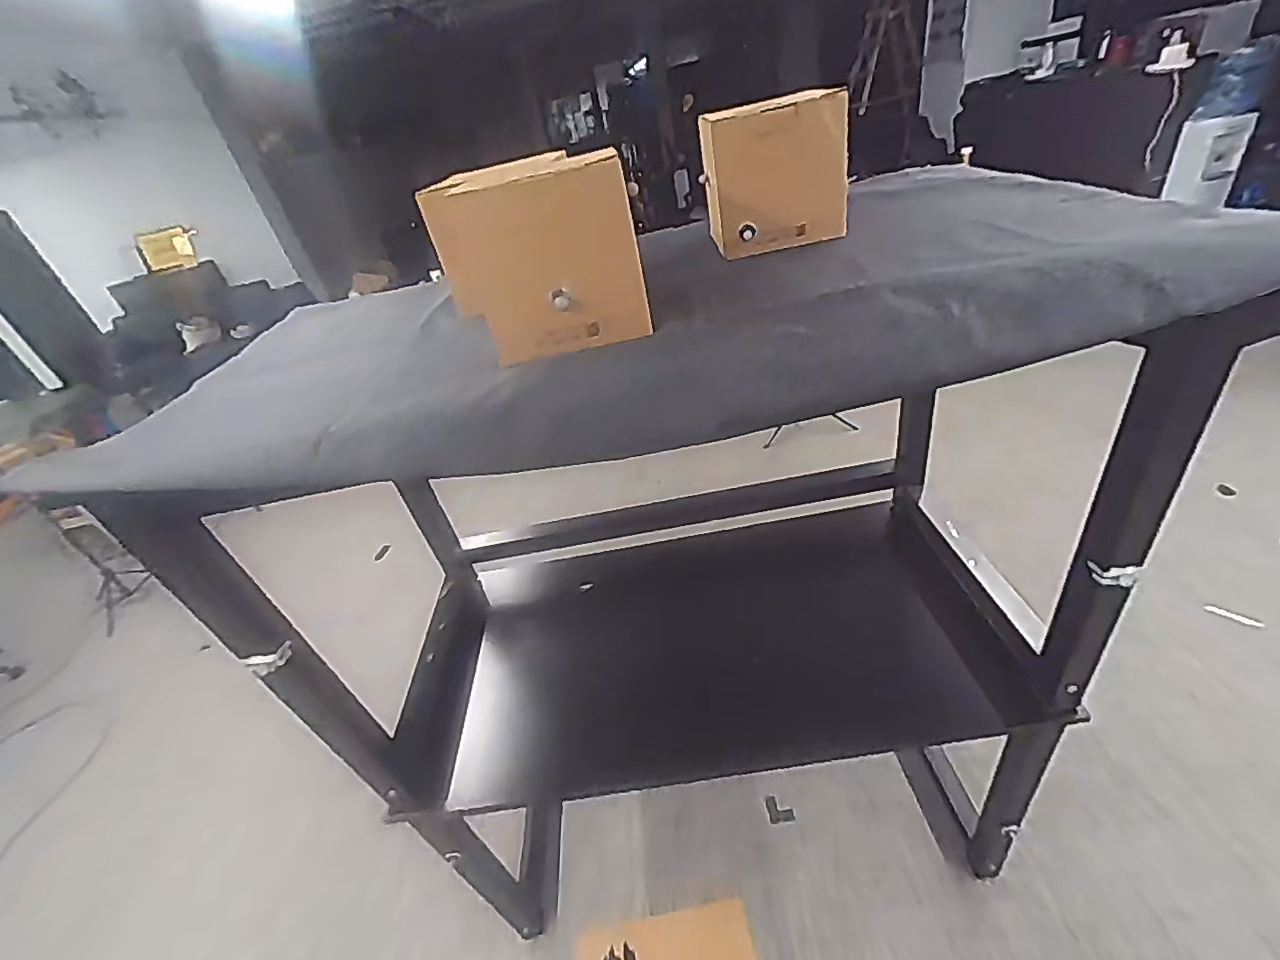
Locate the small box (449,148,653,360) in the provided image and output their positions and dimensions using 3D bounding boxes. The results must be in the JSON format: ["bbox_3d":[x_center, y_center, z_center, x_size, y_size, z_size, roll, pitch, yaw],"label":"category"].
[{"bbox_3d":[-0.083,-0.249,0.594,0.168,0.176,0.179,-11,34,3],"label":"small box"}]

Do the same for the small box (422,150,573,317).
[{"bbox_3d":[-0.171,-0.351,0.772,0.179,0.176,0.168,-7,35,8],"label":"small box"}]

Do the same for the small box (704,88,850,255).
[{"bbox_3d":[0.188,-0.428,0.760,0.168,0.176,0.179,-9,34,6],"label":"small box"}]
